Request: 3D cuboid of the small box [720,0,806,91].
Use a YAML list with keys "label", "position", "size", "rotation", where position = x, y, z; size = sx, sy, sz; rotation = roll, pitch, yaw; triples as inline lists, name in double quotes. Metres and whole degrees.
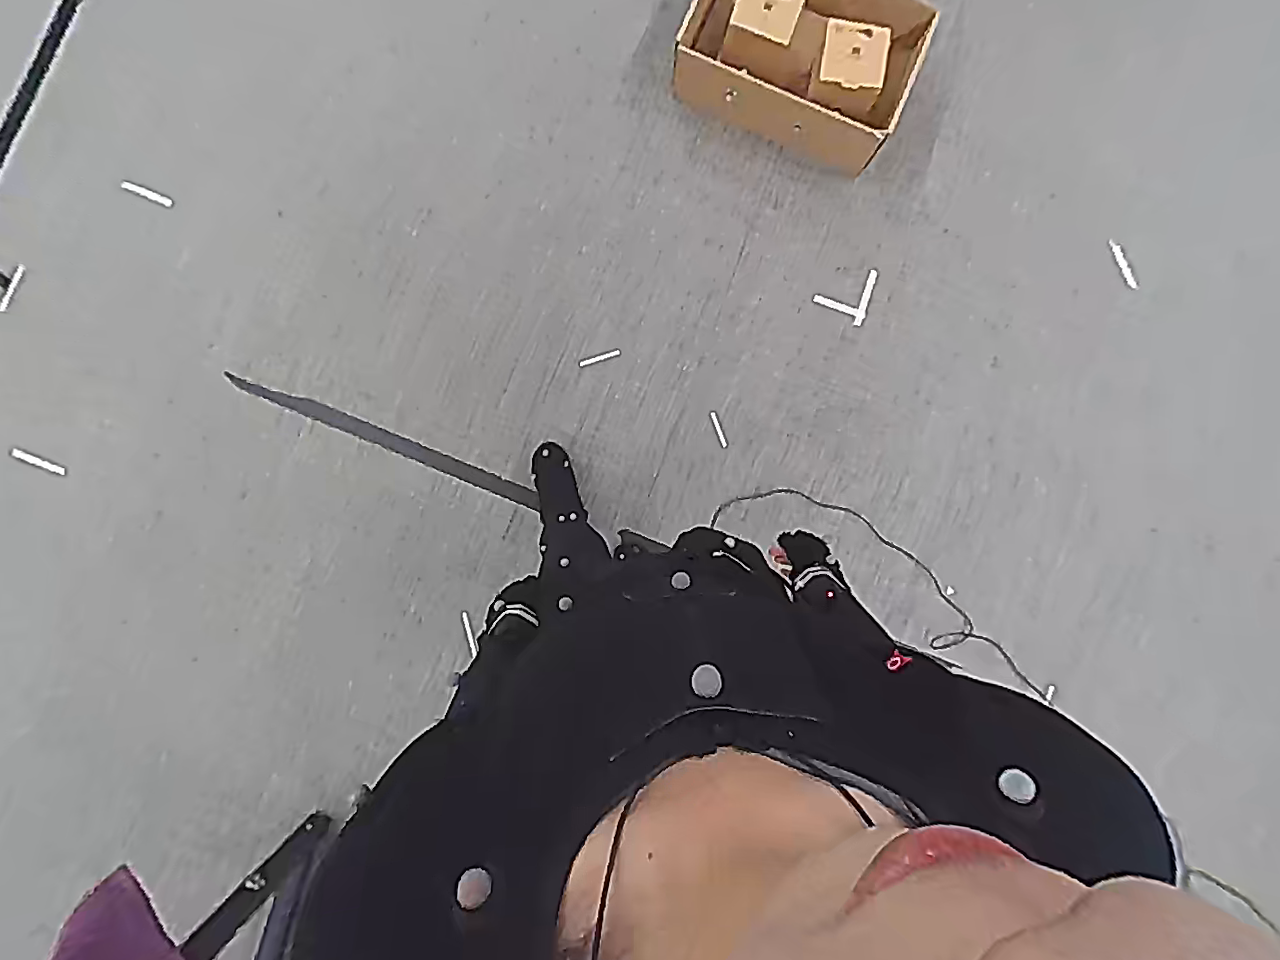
- label: "small box"
  position: [0.330, -1.219, 1.468]
  size: [0.168, 0.176, 0.179]
  rotation: [20, 87, -2]
